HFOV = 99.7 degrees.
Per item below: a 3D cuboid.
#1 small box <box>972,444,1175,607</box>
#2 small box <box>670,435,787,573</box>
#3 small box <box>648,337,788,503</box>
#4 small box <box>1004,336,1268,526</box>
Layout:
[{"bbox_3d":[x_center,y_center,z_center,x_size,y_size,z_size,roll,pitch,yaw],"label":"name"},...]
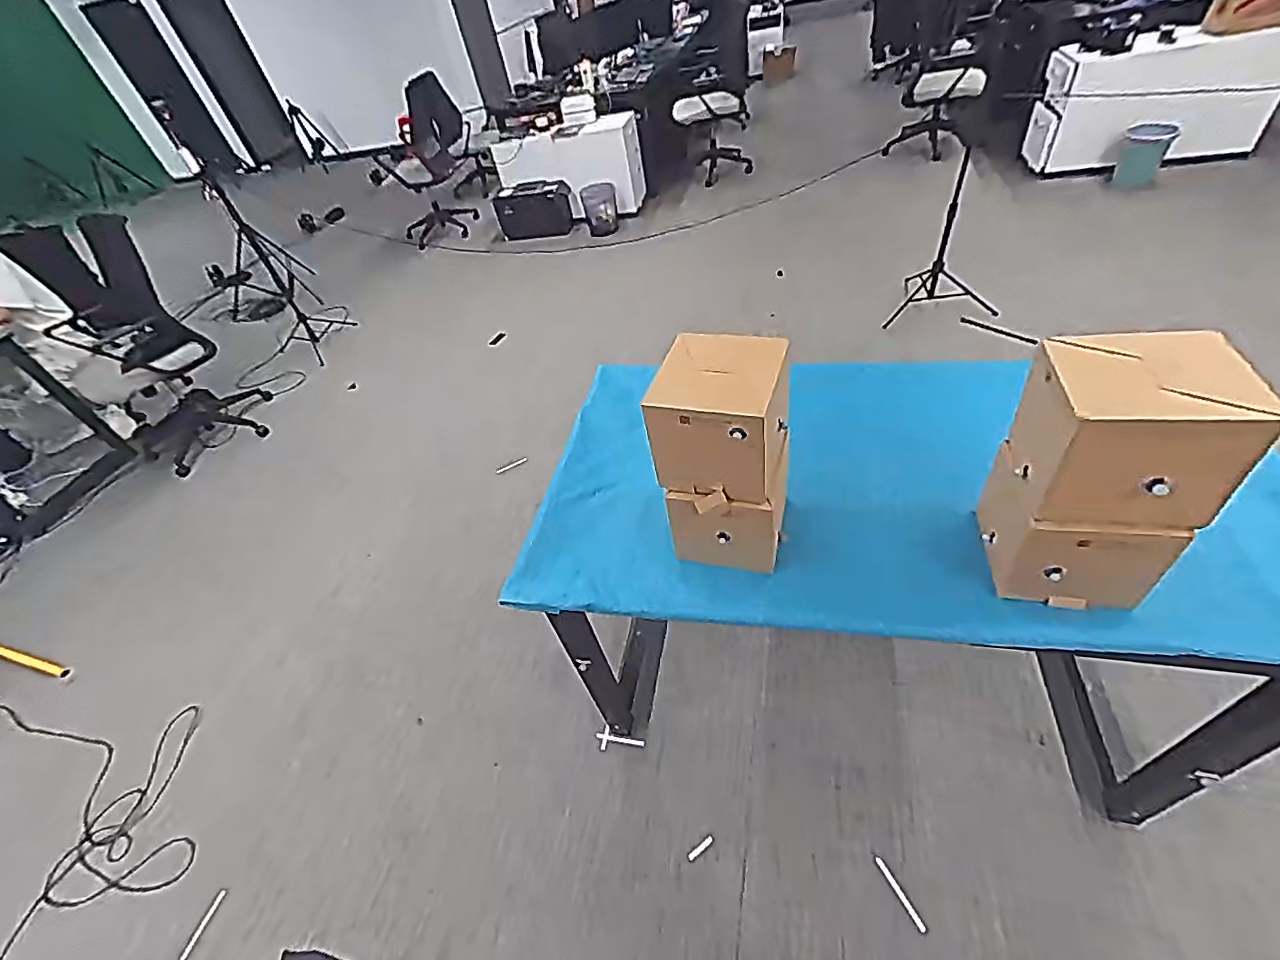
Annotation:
[{"bbox_3d":[0.603,0.058,0.774,0.168,0.176,0.179,2,46,15],"label":"small box"},{"bbox_3d":[0.154,0.029,0.909,0.168,0.176,0.179,6,48,18],"label":"small box"},{"bbox_3d":[0.122,-0.093,0.803,0.168,0.176,0.179,9,51,21],"label":"small box"},{"bbox_3d":[0.583,-0.061,0.663,0.179,0.176,0.168,1,44,18],"label":"small box"}]
